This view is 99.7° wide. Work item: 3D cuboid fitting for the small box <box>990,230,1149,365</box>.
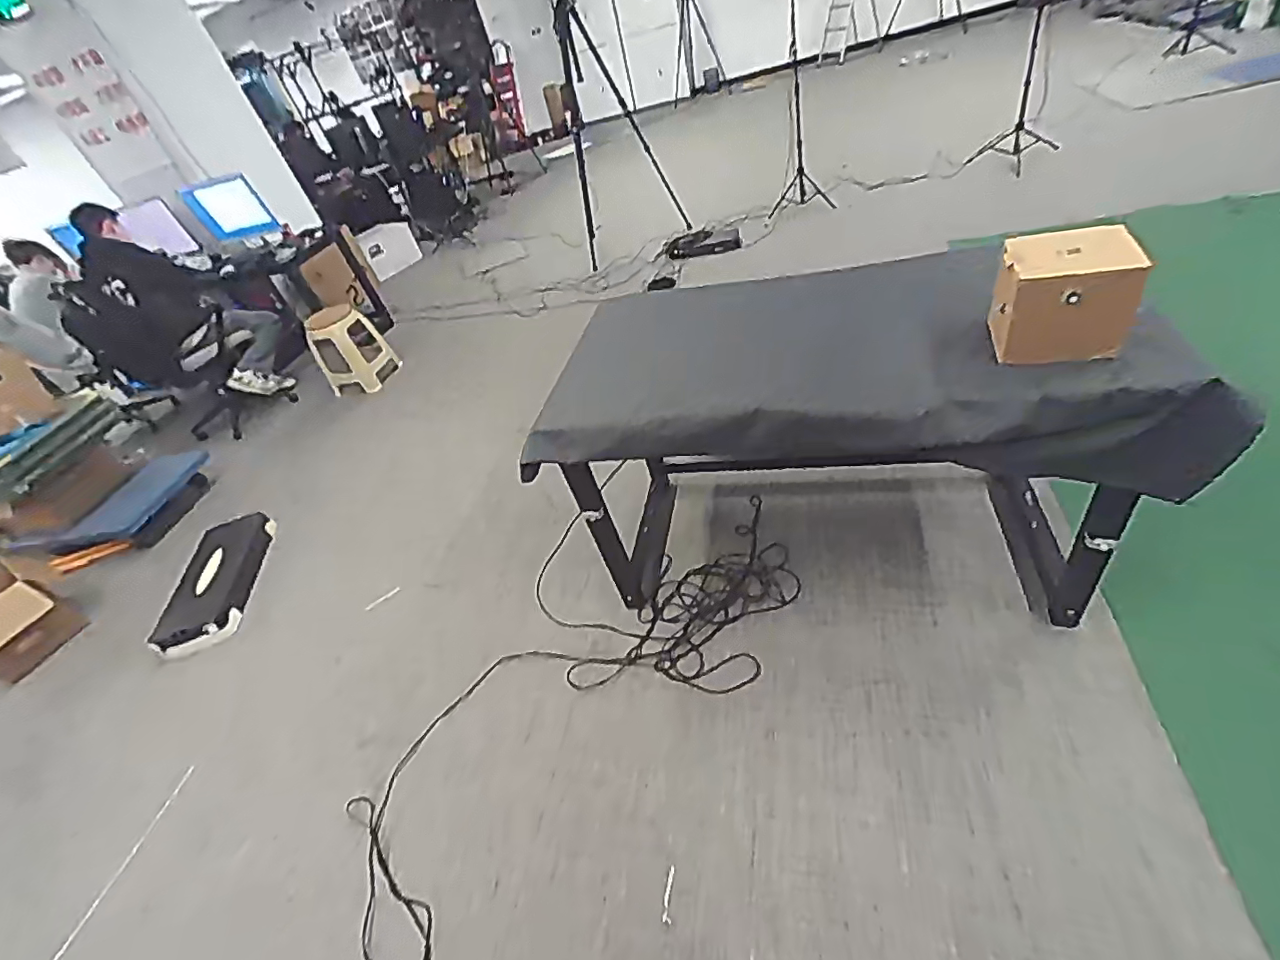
[{"bbox_3d":[0.737,-0.316,0.955,0.179,0.176,0.168,2,45,22],"label":"small box"}]
